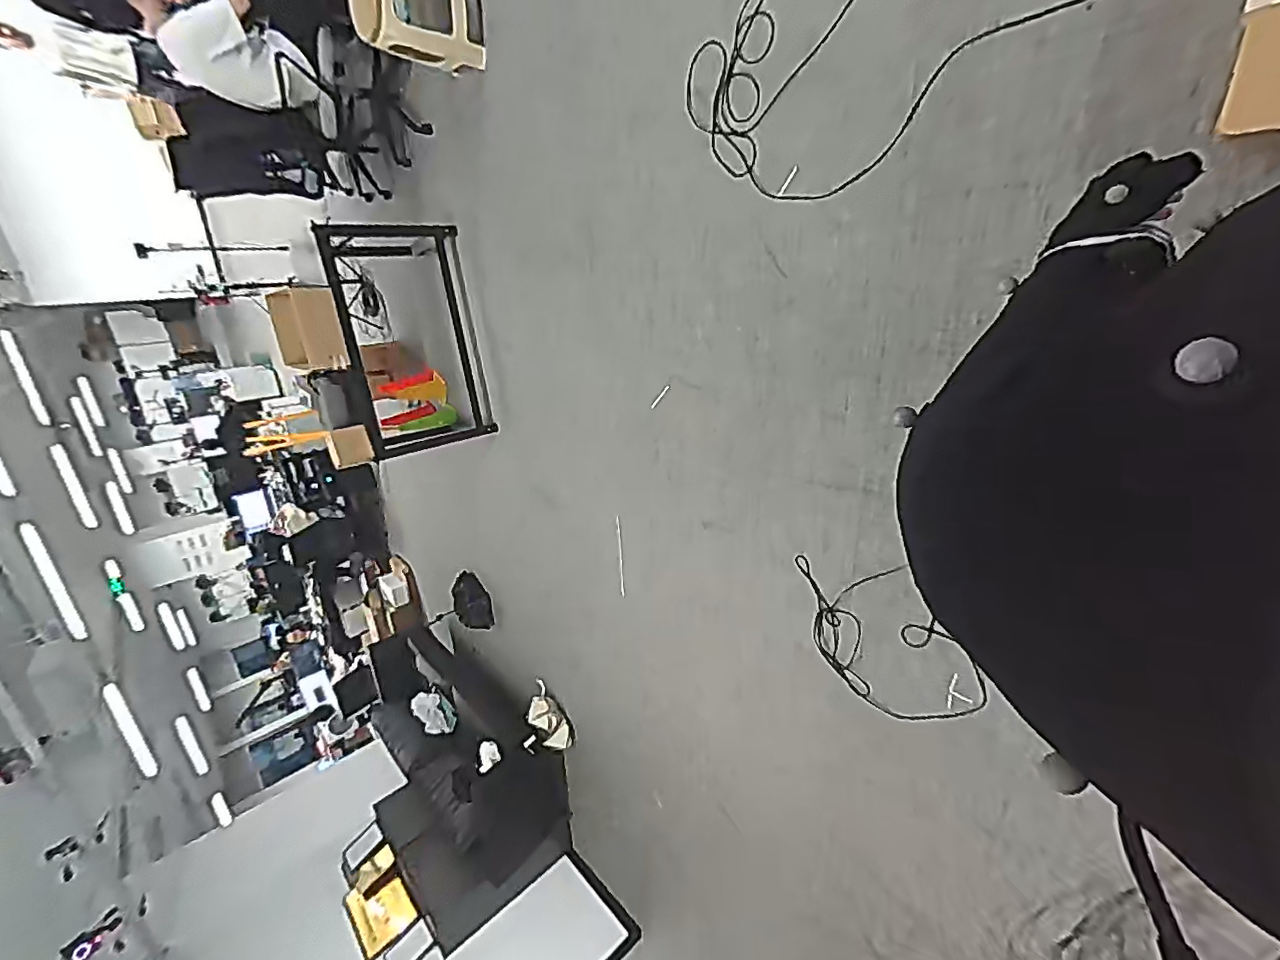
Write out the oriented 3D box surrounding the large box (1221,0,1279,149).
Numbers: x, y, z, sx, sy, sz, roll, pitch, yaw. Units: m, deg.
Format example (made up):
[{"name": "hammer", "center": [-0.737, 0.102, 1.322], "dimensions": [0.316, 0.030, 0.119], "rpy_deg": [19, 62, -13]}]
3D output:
[{"name": "large box", "center": [1.049, -0.633, 0.662], "dimensions": [0.408, 0.320, 0.320], "rpy_deg": [19, 122, 44]}]
